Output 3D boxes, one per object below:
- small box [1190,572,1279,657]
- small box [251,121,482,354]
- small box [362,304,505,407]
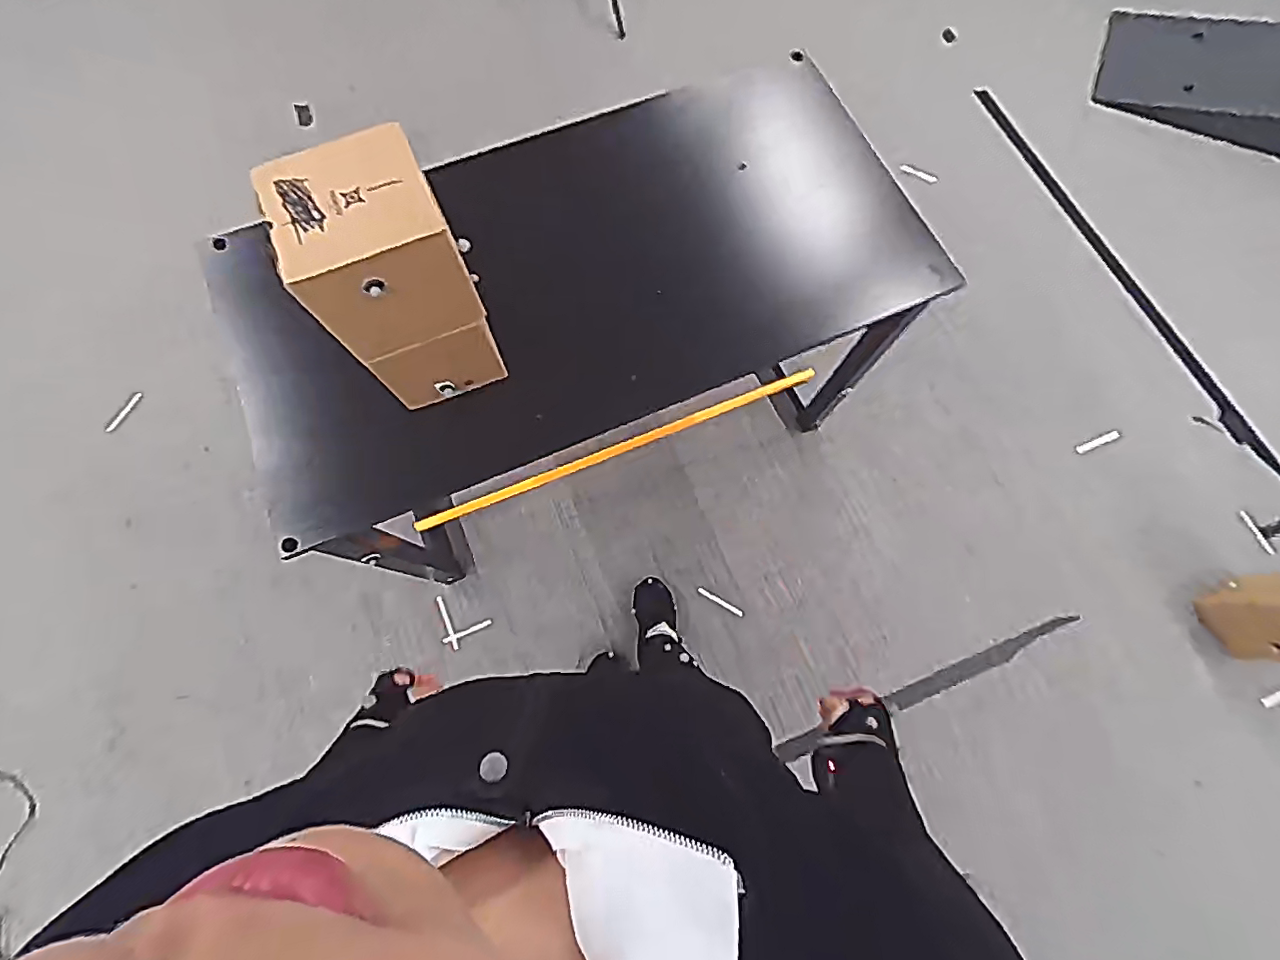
[{"bbox_3d":[1.668,0.357,1.450,0.168,0.176,0.179,-28,77,-8],"label":"small box"},{"bbox_3d":[-0.320,-0.283,0.663,0.179,0.176,0.168,-24,76,-7],"label":"small box"},{"bbox_3d":[-0.323,-0.240,0.822,0.168,0.176,0.179,-23,77,-6],"label":"small box"}]
